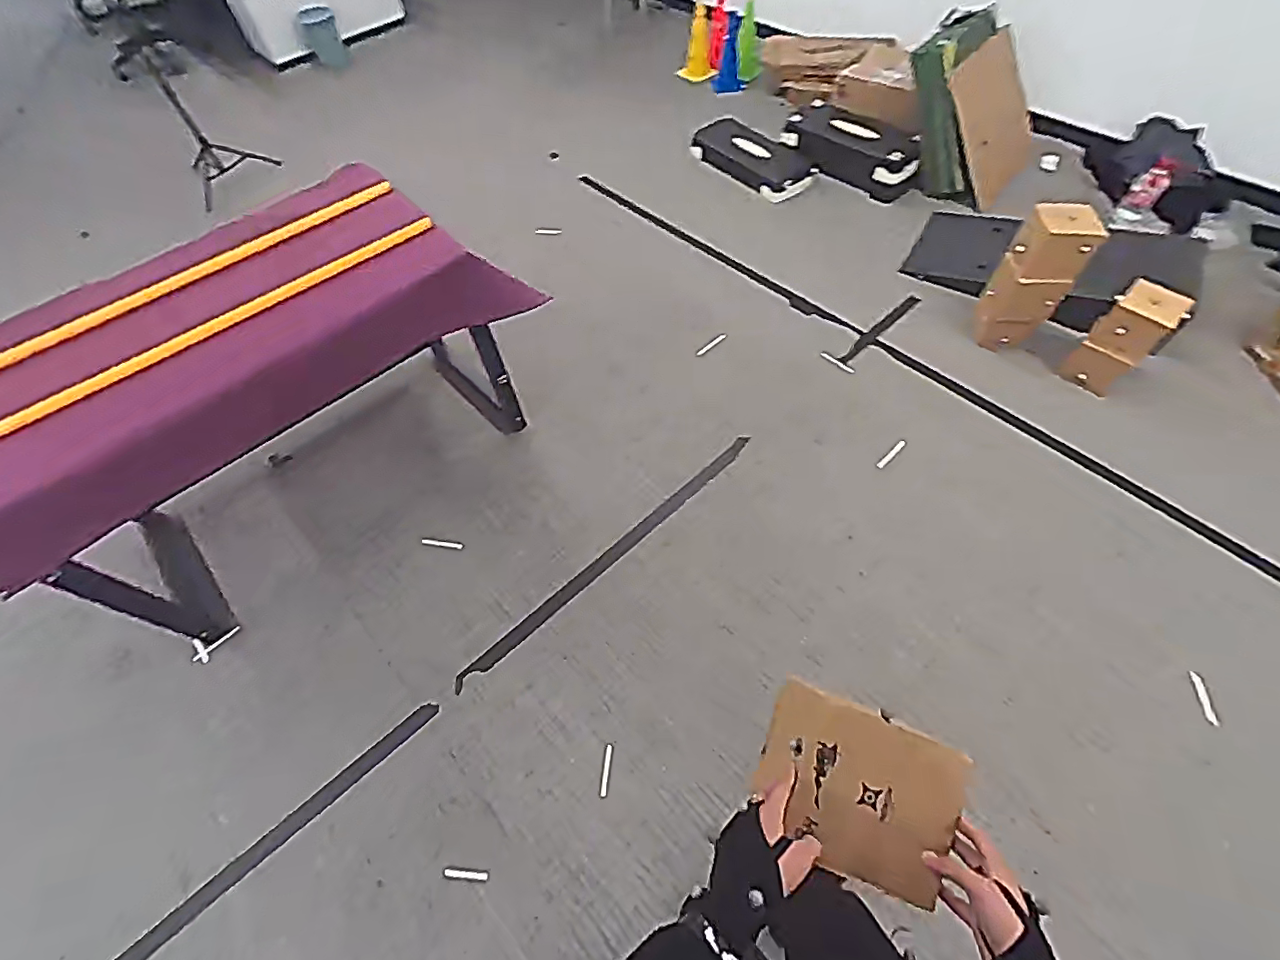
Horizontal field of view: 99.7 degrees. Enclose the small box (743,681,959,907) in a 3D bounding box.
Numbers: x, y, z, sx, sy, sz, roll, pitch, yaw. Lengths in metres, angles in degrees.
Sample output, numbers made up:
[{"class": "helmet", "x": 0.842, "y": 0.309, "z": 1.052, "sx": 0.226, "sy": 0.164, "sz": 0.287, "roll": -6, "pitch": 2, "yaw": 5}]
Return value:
[{"class": "small box", "x": 0.248, "y": 0.369, "z": 0.675, "sx": 0.179, "sy": 0.176, "sz": 0.168, "roll": 21, "pitch": 80, "yaw": 4}]
